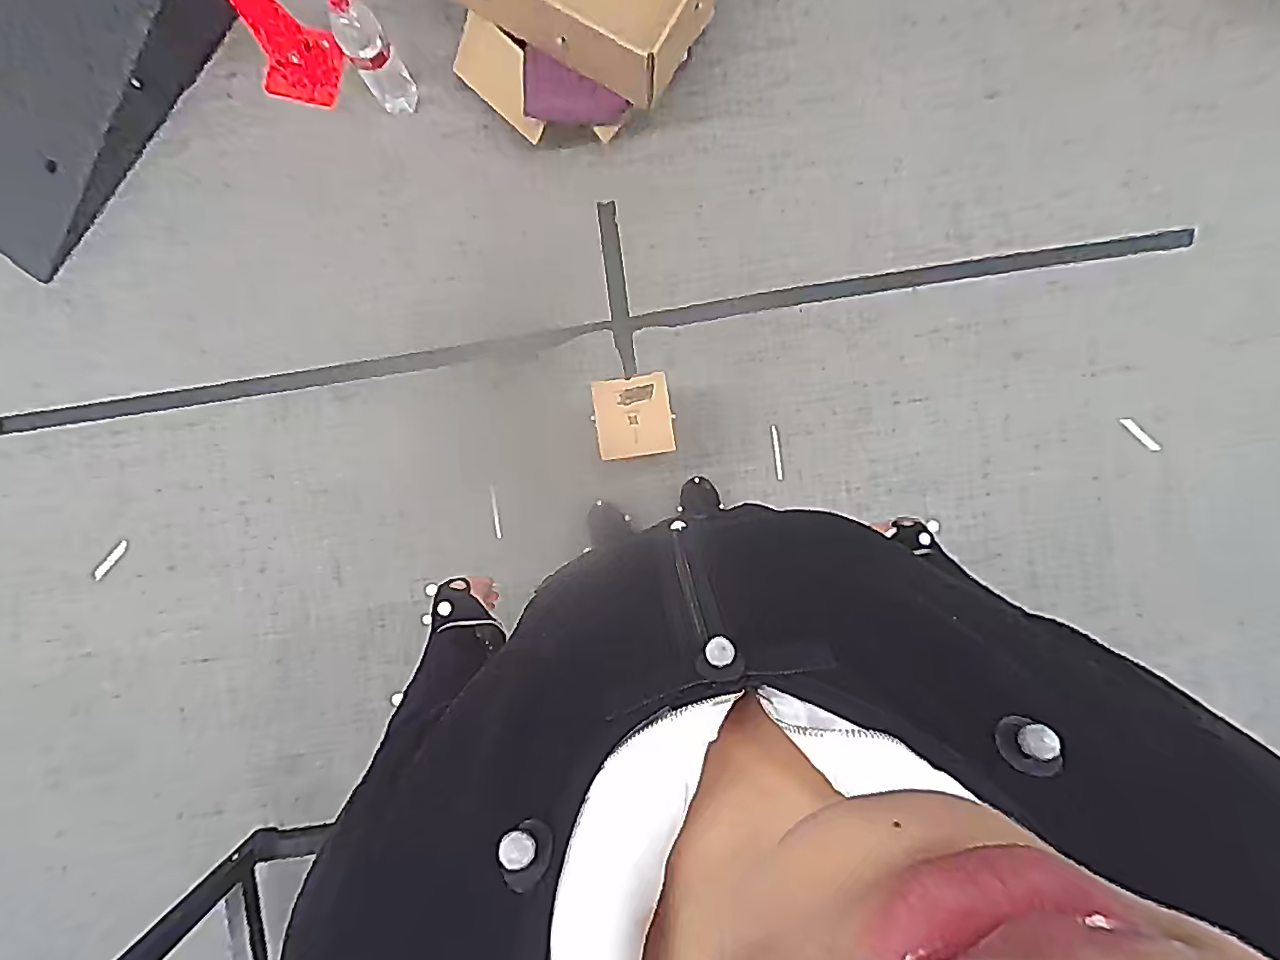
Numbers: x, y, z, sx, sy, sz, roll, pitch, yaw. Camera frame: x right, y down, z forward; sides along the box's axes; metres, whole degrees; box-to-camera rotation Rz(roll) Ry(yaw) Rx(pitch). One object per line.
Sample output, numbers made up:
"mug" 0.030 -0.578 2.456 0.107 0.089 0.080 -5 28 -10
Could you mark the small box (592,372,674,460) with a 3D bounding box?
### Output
"small box" -0.018 -0.142 1.257 0.168 0.176 0.179 -8 93 0
